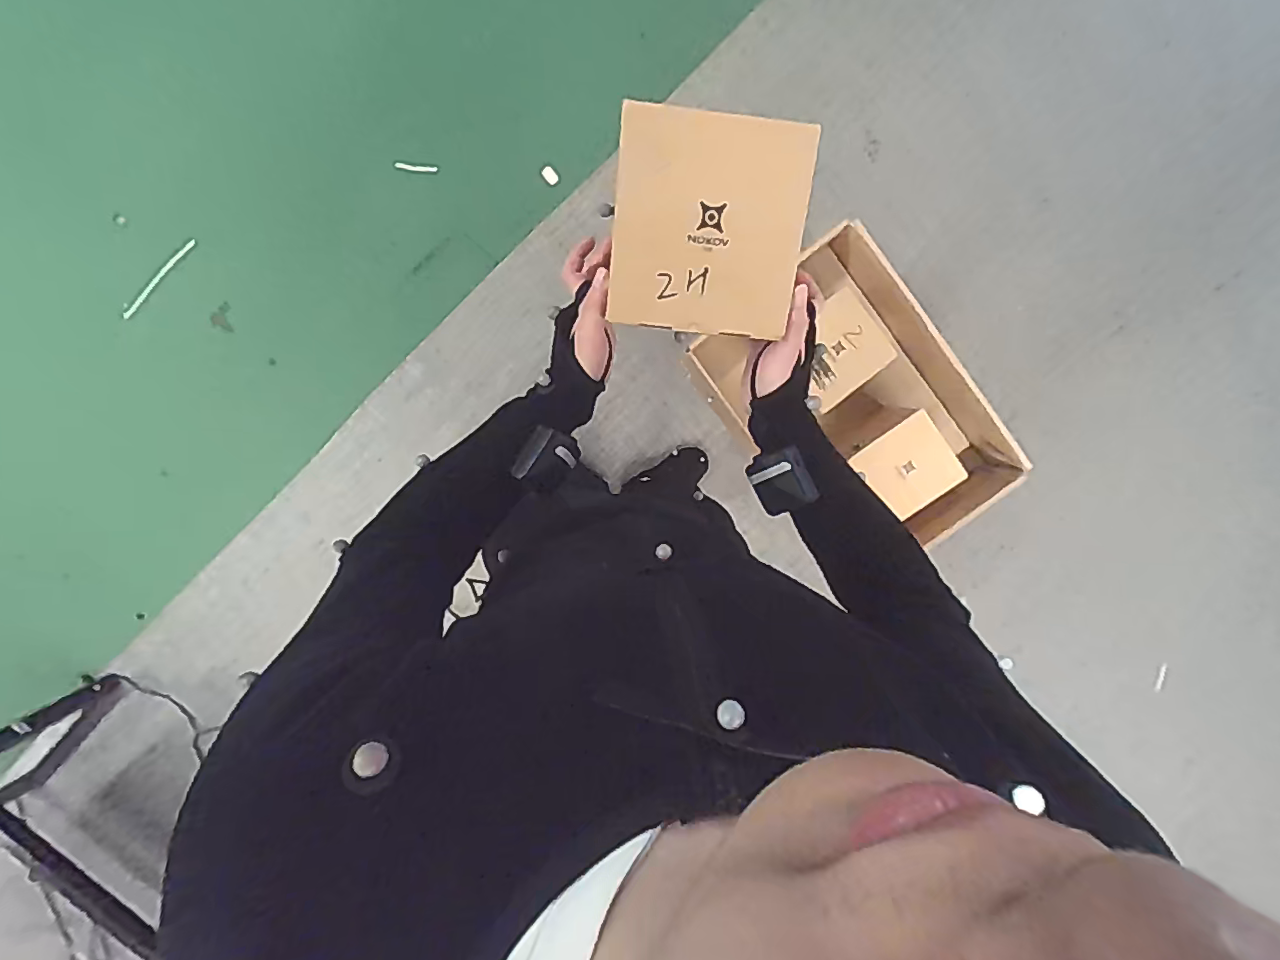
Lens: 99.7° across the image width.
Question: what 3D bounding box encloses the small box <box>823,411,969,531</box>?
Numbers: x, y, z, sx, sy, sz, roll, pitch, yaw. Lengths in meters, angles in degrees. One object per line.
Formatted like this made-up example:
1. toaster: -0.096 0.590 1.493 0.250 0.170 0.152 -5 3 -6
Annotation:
1. small box: 0.505 -0.028 1.092 0.179 0.176 0.168 -36 96 7

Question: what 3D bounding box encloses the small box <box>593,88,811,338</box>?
1. small box: 0.046 -0.240 0.528 0.168 0.176 0.179 5 108 -3
